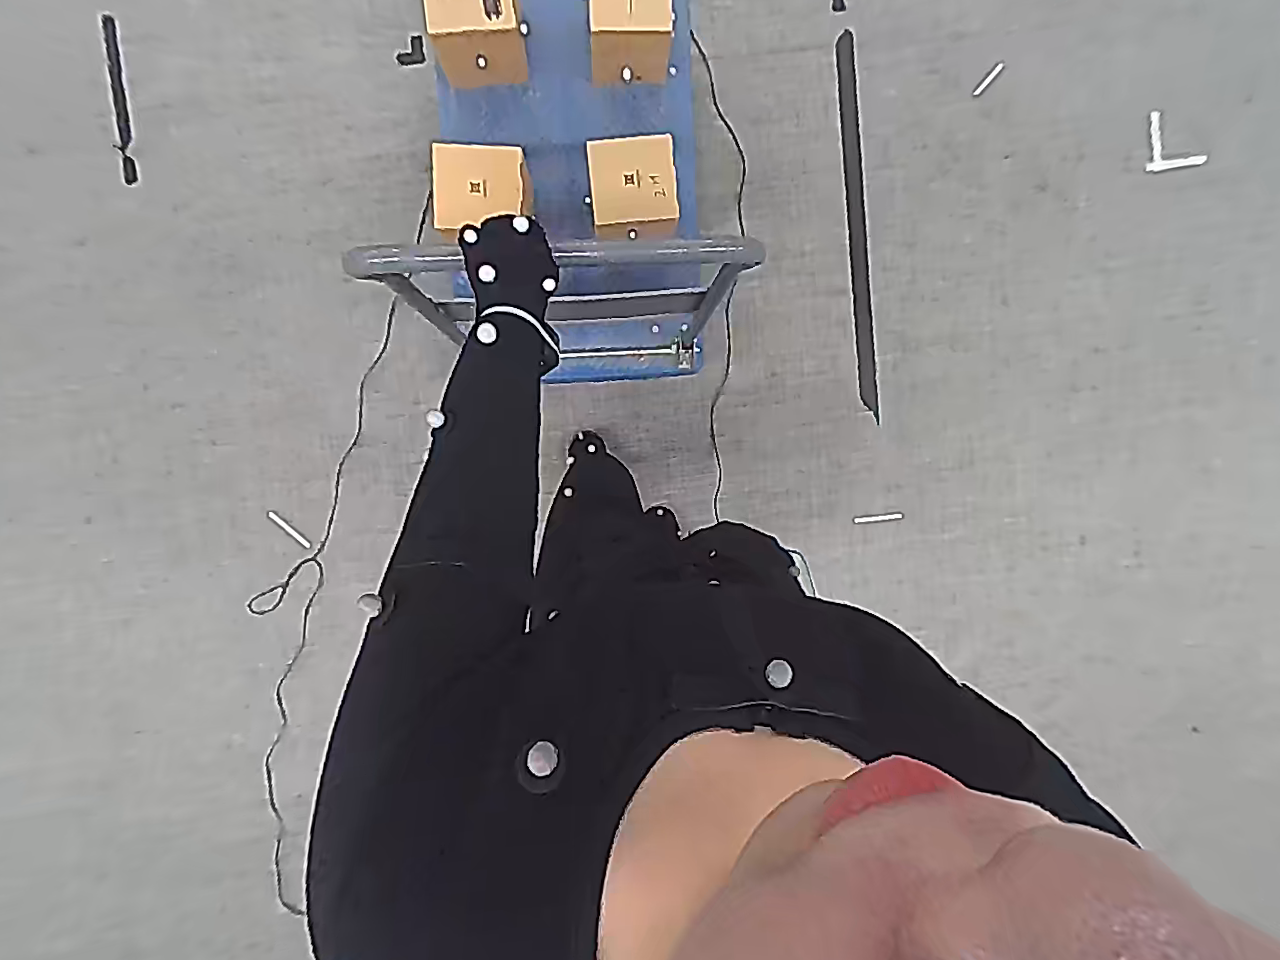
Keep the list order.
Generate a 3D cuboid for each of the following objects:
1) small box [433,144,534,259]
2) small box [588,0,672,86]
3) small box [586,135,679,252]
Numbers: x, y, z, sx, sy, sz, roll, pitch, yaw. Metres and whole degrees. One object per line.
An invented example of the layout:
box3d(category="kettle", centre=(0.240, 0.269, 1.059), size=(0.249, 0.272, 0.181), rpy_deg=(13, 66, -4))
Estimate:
box3d(category="small box", centre=(-0.326, -0.583, 1.151), size=(0.179, 0.176, 0.168), rpy_deg=(-1, 94, -5))
box3d(category="small box", centre=(-0.025, -0.977, 1.138), size=(0.168, 0.176, 0.179), rpy_deg=(-2, 96, -3))
box3d(category="small box", centre=(-0.017, -0.607, 1.166), size=(0.179, 0.176, 0.168), rpy_deg=(-6, 95, -2))
